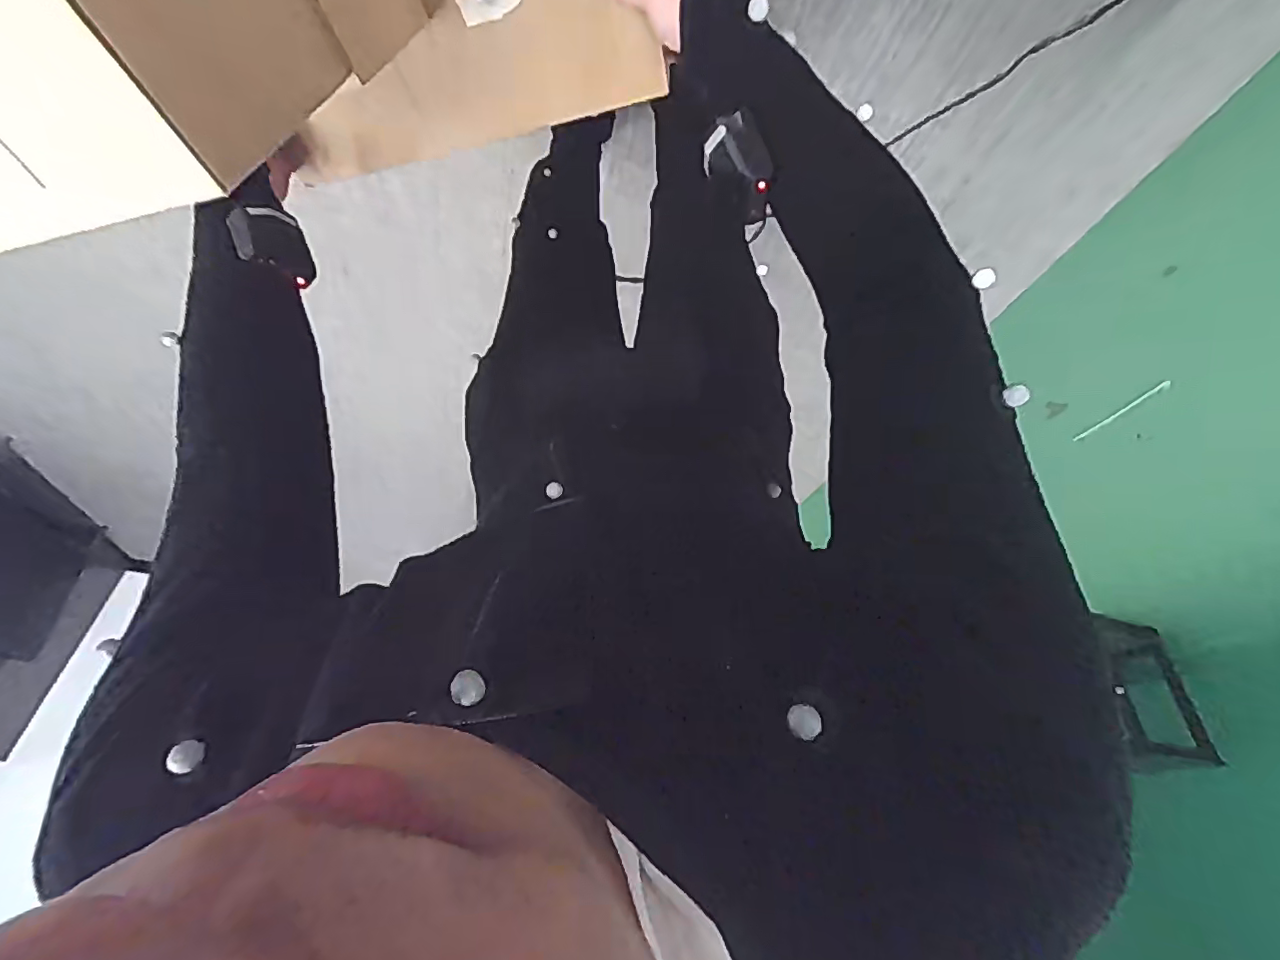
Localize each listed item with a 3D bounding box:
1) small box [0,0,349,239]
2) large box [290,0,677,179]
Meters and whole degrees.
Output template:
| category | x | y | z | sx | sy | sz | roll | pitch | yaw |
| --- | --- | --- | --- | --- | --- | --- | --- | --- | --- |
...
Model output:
| category | x | y | z | sx | sy | sz | roll | pitch | yaw |
| --- | --- | --- | --- | --- | --- | --- | --- | --- | --- |
| small box | -0.284 | -0.251 | 0.257 | 0.168 | 0.176 | 0.179 | -6 | 142 | 11 |
| large box | -0.191 | -0.560 | 0.522 | 0.408 | 0.320 | 0.320 | -8 | 142 | 11 |
